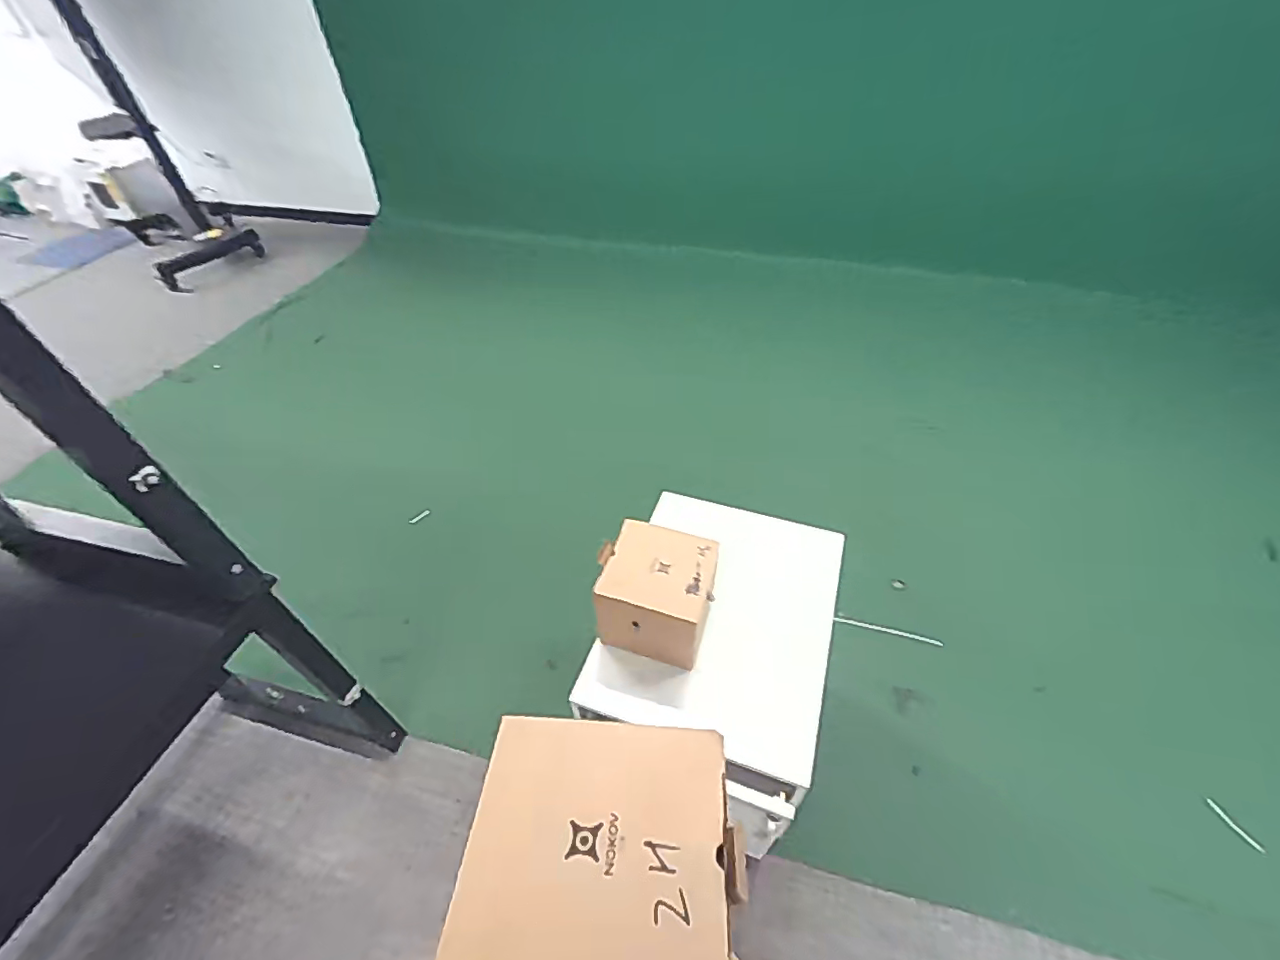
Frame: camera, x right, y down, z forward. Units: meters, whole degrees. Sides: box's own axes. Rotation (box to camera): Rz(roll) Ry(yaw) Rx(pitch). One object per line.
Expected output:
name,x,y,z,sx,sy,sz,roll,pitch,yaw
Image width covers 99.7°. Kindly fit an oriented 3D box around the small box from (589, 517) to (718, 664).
small box,0.028,0.195,0.938,0.179,0.176,0.168,13,48,14
